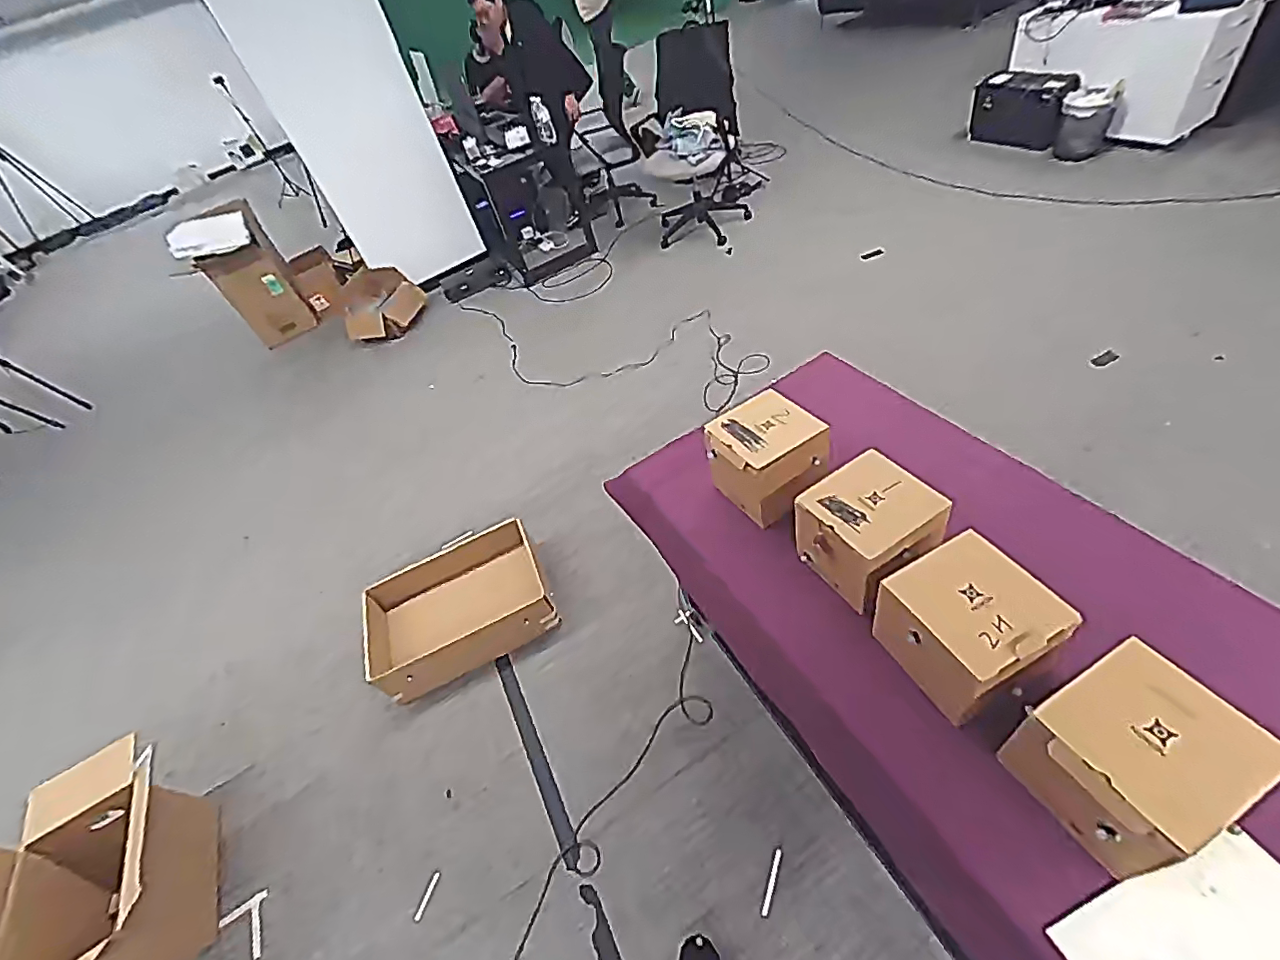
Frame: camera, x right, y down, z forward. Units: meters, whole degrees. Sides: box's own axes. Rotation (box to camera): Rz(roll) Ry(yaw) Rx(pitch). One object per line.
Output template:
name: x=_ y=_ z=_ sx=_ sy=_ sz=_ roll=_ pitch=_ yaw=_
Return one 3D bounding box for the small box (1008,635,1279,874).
small box: x=0.577 y=0.326 z=0.639 sx=0.179 sy=0.176 sz=0.168 roll=-29 pitch=47 yaw=-10
